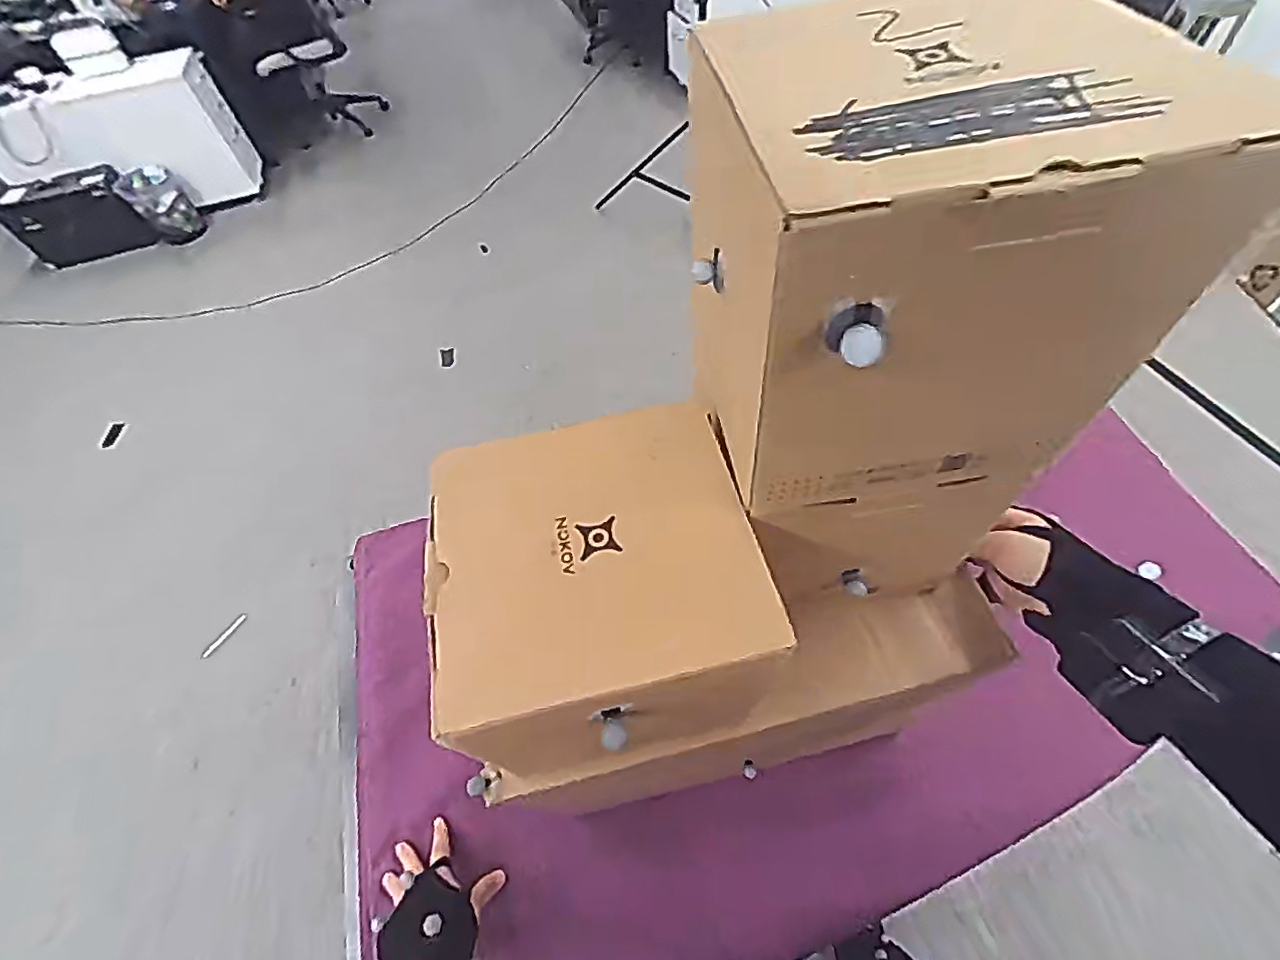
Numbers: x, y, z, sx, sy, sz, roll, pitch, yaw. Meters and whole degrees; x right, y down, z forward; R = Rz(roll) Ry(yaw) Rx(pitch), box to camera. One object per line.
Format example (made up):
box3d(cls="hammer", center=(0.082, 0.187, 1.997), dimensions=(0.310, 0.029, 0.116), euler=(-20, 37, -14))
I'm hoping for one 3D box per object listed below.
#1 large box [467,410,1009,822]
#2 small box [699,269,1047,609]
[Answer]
box3d(cls="large box", center=(0.068, 0.142, 0.597), dimensions=(0.408, 0.320, 0.320), euler=(-15, 54, -3))
box3d(cls="small box", center=(0.138, -0.025, 0.405), dimensions=(0.168, 0.176, 0.179), euler=(-9, 56, 1))
